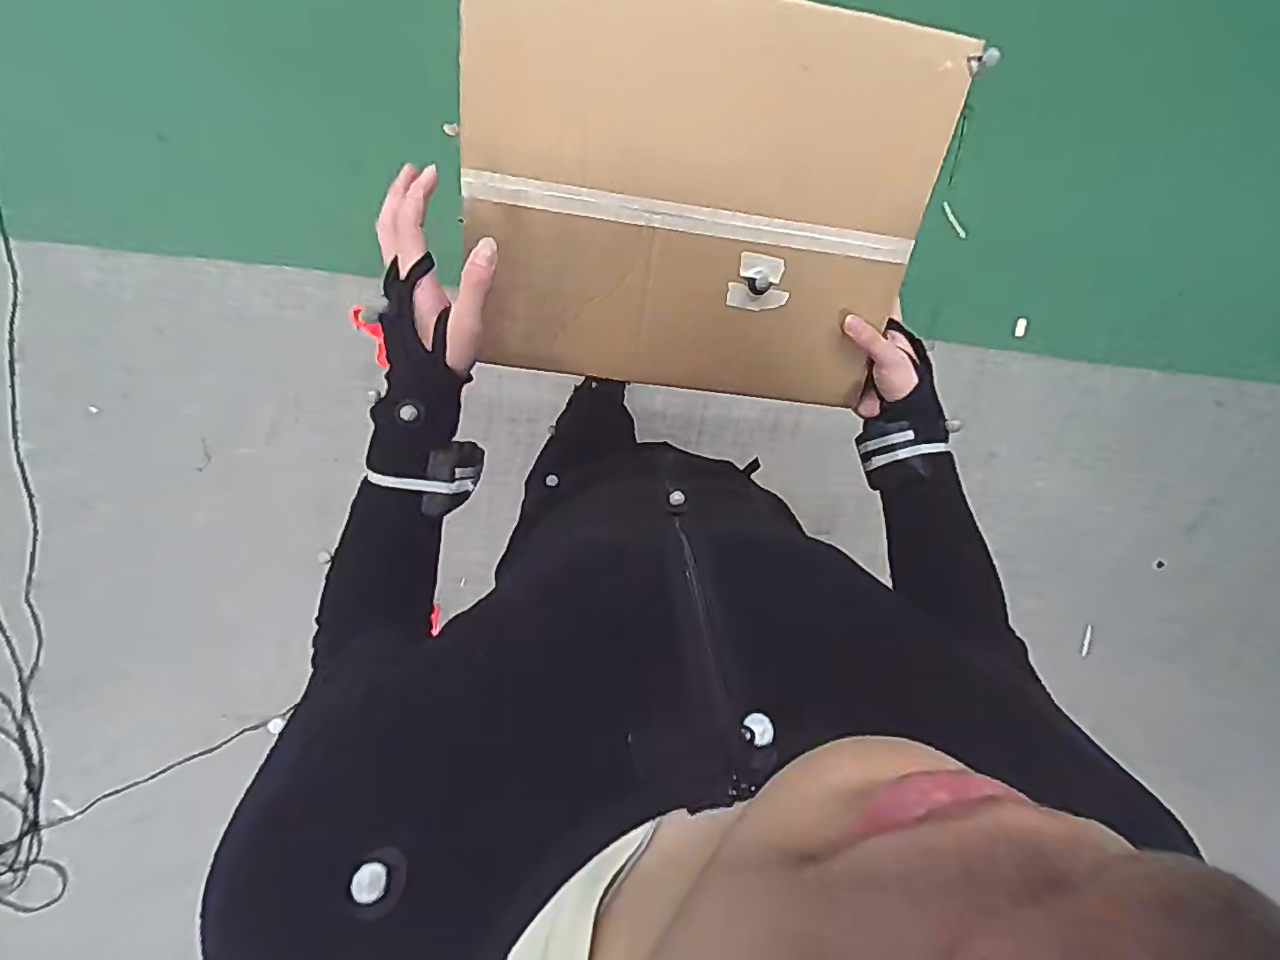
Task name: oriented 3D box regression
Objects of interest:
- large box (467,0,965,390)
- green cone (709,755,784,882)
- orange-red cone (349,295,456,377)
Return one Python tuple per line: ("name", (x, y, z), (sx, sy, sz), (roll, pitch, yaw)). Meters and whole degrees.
("large box", (0.039, -0.315, 0.614), (0.408, 0.320, 0.320), (5, 120, -8))
("green cone", (0.350, 1.019, 1.592), (0.200, 0.368, 0.202), (11, 96, -5))
("orange-red cone", (-0.622, -0.382, 1.342), (0.199, 0.360, 0.198), (13, 96, -3))
